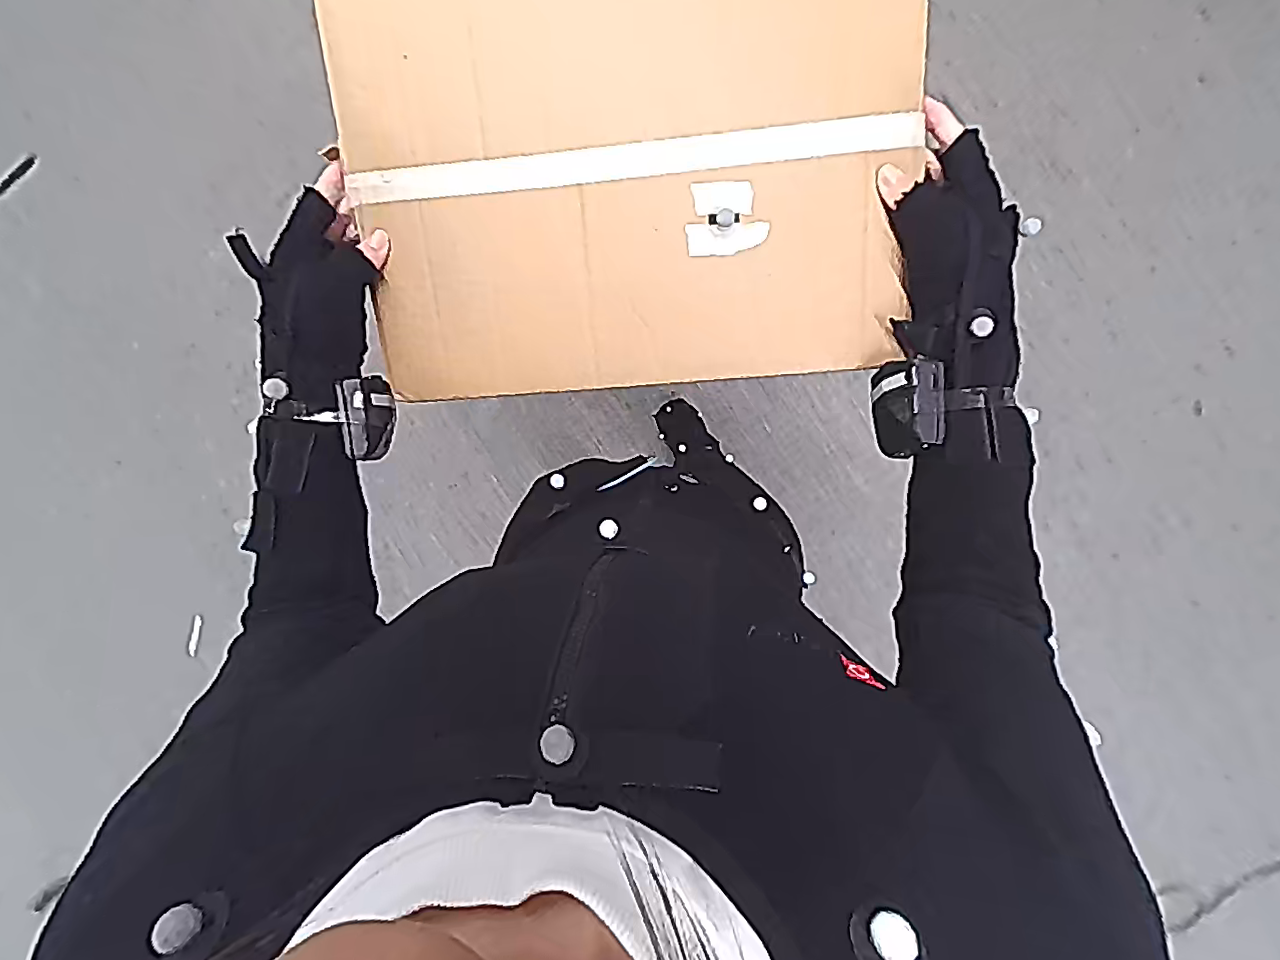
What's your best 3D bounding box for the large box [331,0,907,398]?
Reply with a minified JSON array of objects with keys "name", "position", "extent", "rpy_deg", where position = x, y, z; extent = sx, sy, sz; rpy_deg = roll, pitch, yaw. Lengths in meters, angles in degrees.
[{"name":"large box","position":[-0.004,-0.270,0.542],"extent":[0.408,0.320,0.320],"rpy_deg":[-5,105,4]}]
